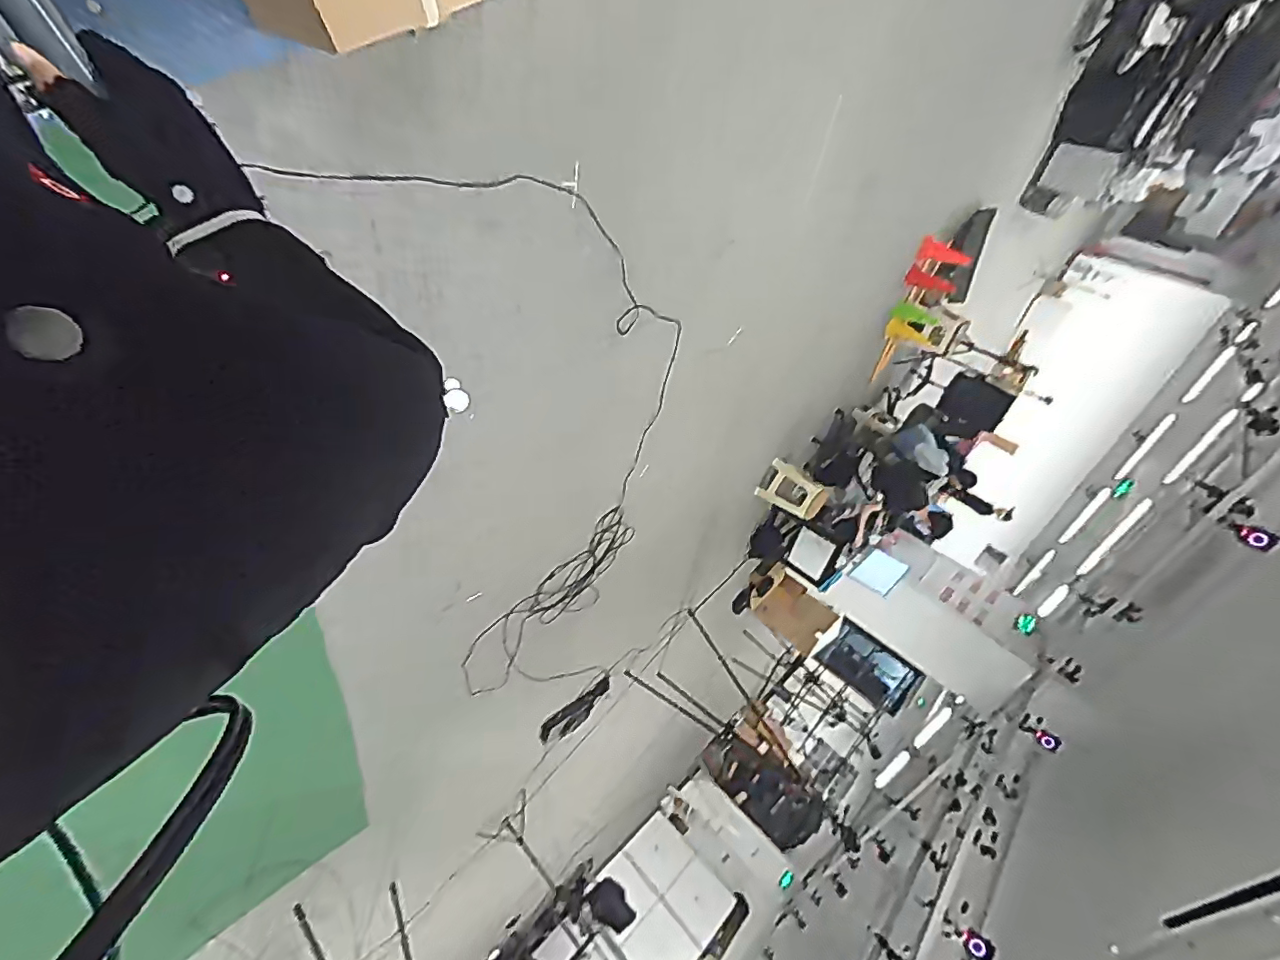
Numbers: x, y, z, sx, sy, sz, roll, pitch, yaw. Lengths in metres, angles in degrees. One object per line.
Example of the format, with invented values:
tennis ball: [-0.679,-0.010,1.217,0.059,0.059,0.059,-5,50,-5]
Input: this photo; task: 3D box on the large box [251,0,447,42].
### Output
large box: [-0.445,-0.891,0.719,0.320,0.320,0.408,-41,147,-21]
